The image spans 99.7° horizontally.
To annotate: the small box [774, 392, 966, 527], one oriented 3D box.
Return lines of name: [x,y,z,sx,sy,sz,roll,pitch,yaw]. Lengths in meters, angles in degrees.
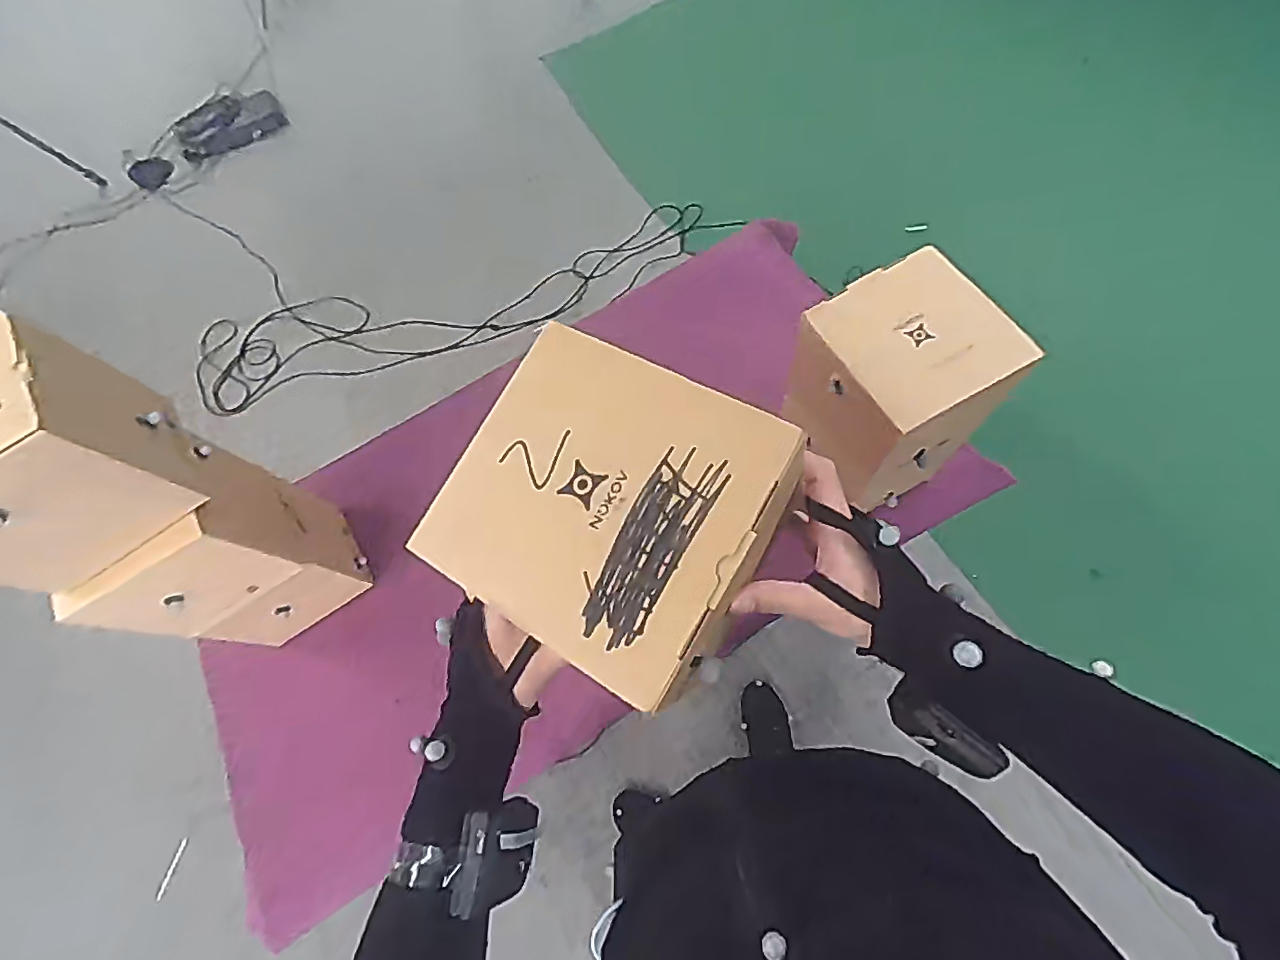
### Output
small box: [0.315,-0.056,0.786,0.179,0.176,0.168,-27,66,-4]

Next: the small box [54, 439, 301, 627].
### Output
small box: [-0.567,0.067,0.673,0.168,0.176,0.179,-33,68,-7]

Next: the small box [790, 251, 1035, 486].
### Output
small box: [0.295,-0.121,0.637,0.168,0.176,0.179,-28,67,-2]

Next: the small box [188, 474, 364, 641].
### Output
small box: [-0.555,0.125,0.824,0.179,0.176,0.168,-34,68,-6]

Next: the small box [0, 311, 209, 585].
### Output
small box: [-0.589,-0.019,0.533,0.179,0.176,0.168,-36,69,-8]
